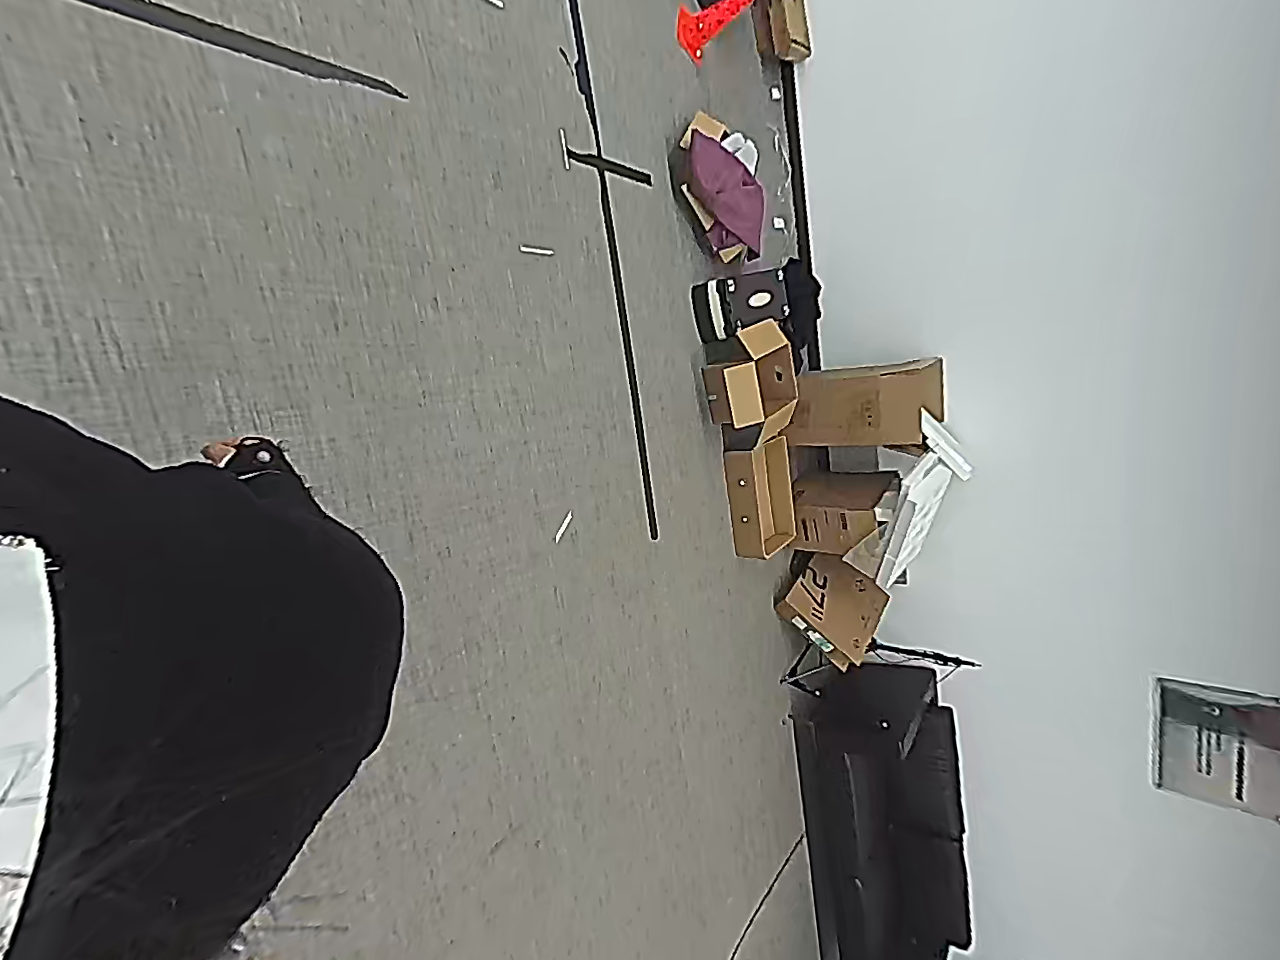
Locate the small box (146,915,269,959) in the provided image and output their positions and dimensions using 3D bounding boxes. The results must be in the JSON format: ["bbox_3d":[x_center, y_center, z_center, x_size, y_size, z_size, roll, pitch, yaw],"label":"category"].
[{"bbox_3d":[-0.536,0.667,0.638,0.168,0.176,0.179,-20,103,-49],"label":"small box"}]
